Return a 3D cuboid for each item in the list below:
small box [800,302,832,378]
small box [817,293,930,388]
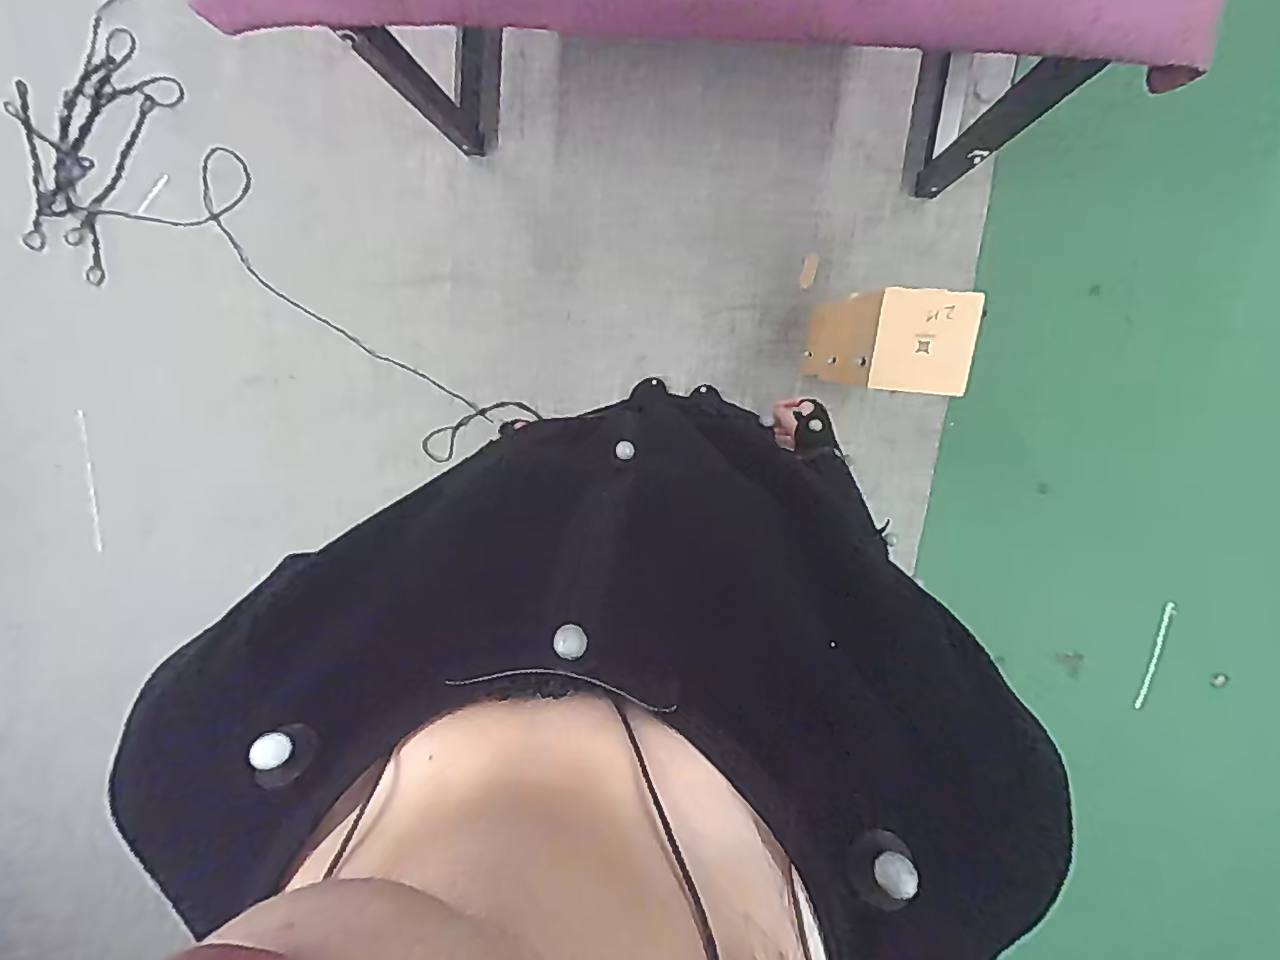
[{"bbox_3d":[0.502,-0.330,1.321,0.179,0.176,0.168,8,102,4],"label":"small box"},{"bbox_3d":[0.491,-0.296,1.164,0.168,0.176,0.179,5,103,4],"label":"small box"}]
